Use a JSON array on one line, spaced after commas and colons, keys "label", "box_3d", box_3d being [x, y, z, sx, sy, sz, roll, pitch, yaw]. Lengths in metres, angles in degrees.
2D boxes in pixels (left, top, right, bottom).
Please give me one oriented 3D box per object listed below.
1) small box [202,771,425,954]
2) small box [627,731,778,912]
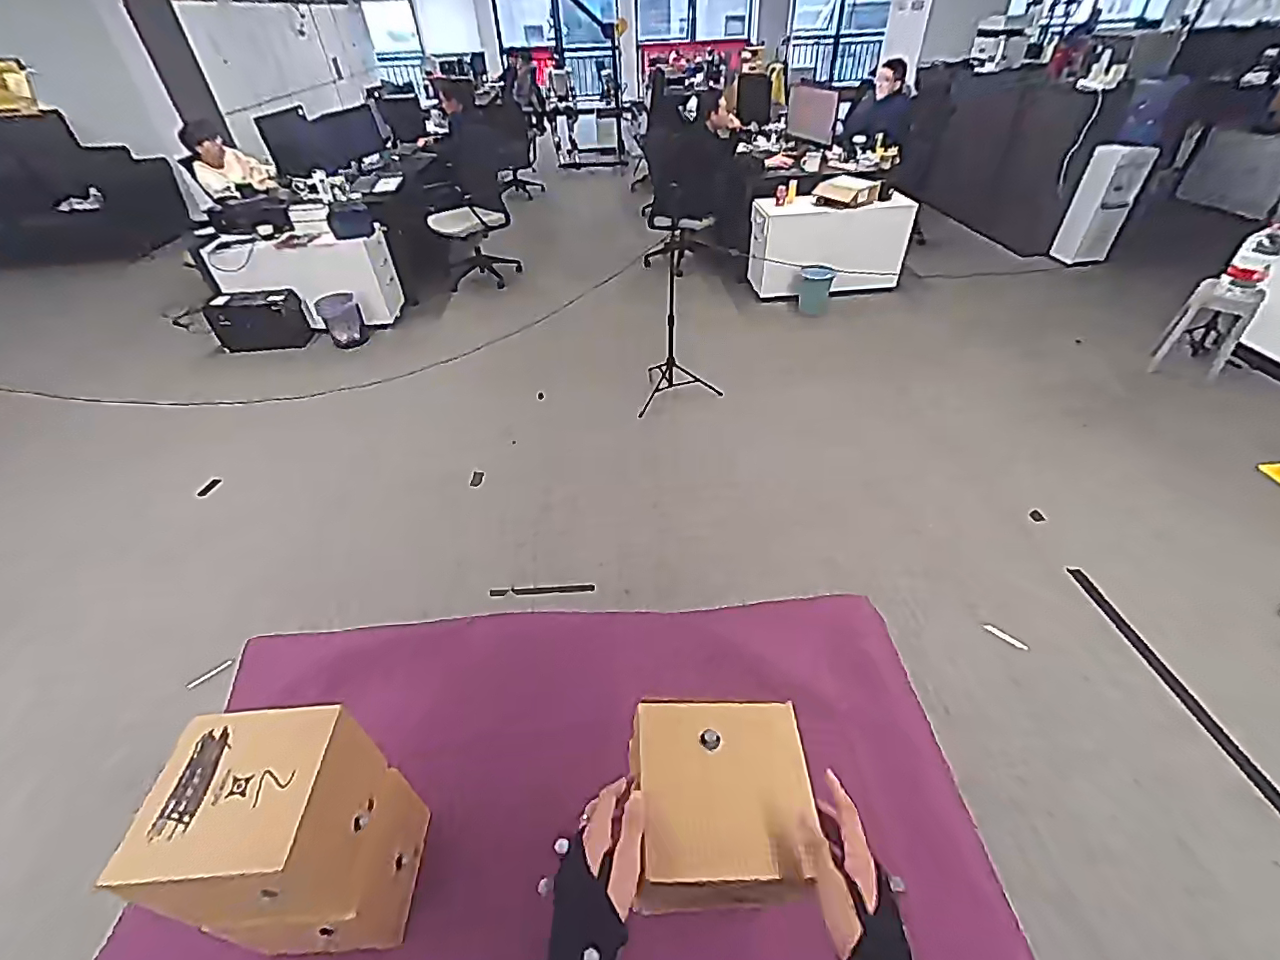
[{"label": "small box", "box_3d": [-0.410, 0.510, 0.722, 0.179, 0.176, 0.168, -3, 41, 0]}, {"label": "small box", "box_3d": [0.077, 0.470, 0.743, 0.179, 0.176, 0.168, -4, 41, -1]}]
